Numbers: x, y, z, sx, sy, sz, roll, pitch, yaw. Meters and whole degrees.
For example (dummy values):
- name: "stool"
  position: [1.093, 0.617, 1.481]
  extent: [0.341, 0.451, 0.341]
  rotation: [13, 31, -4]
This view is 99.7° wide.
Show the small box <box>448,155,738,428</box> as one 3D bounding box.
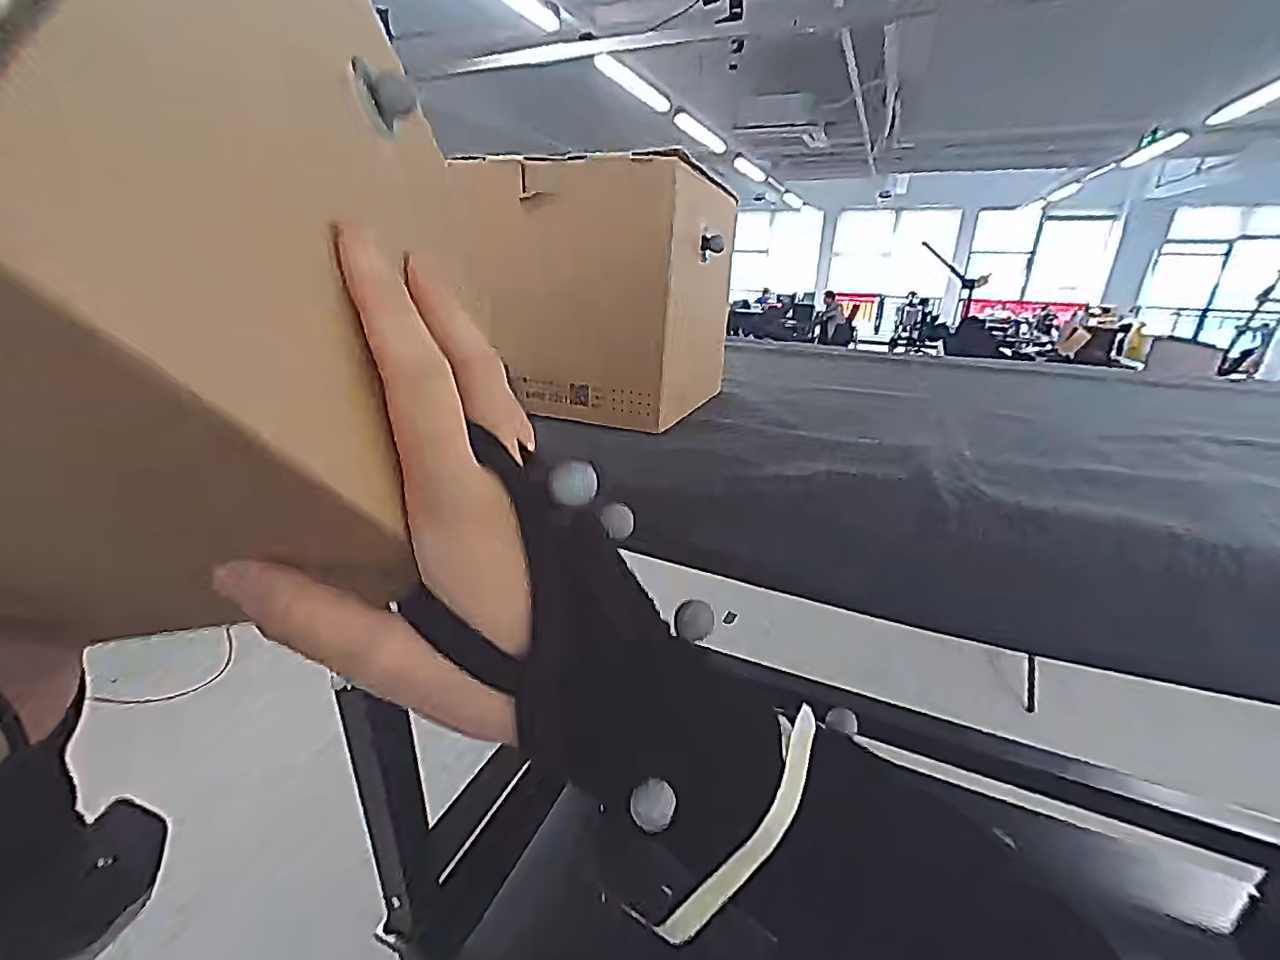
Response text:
- name: "small box"
  position: [-0.026, -0.145, 0.436]
  extent: [0.168, 0.176, 0.179]
  rotation: [11, 21, 19]
